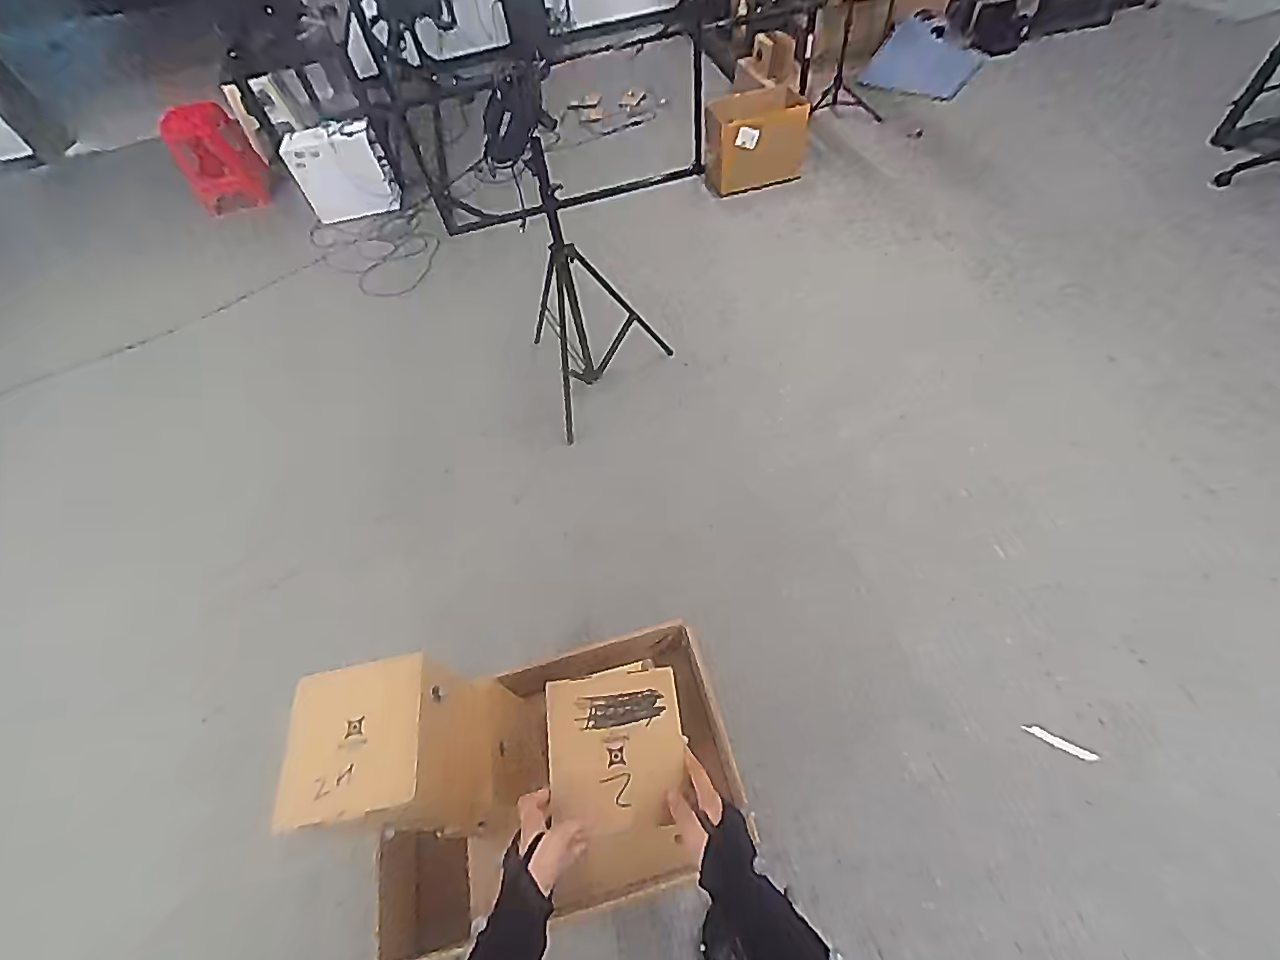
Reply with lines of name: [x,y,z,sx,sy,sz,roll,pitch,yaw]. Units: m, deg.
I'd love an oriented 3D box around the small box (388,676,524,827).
small box: [-0.288,0.435,0.858,0.168,0.176,0.179,-12,55,-2]

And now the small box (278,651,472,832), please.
small box: [-0.333,0.352,0.721,0.168,0.176,0.179,-11,56,-1]

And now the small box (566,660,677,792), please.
small box: [-0.032,0.461,1.008,0.168,0.176,0.179,-15,56,-2]
